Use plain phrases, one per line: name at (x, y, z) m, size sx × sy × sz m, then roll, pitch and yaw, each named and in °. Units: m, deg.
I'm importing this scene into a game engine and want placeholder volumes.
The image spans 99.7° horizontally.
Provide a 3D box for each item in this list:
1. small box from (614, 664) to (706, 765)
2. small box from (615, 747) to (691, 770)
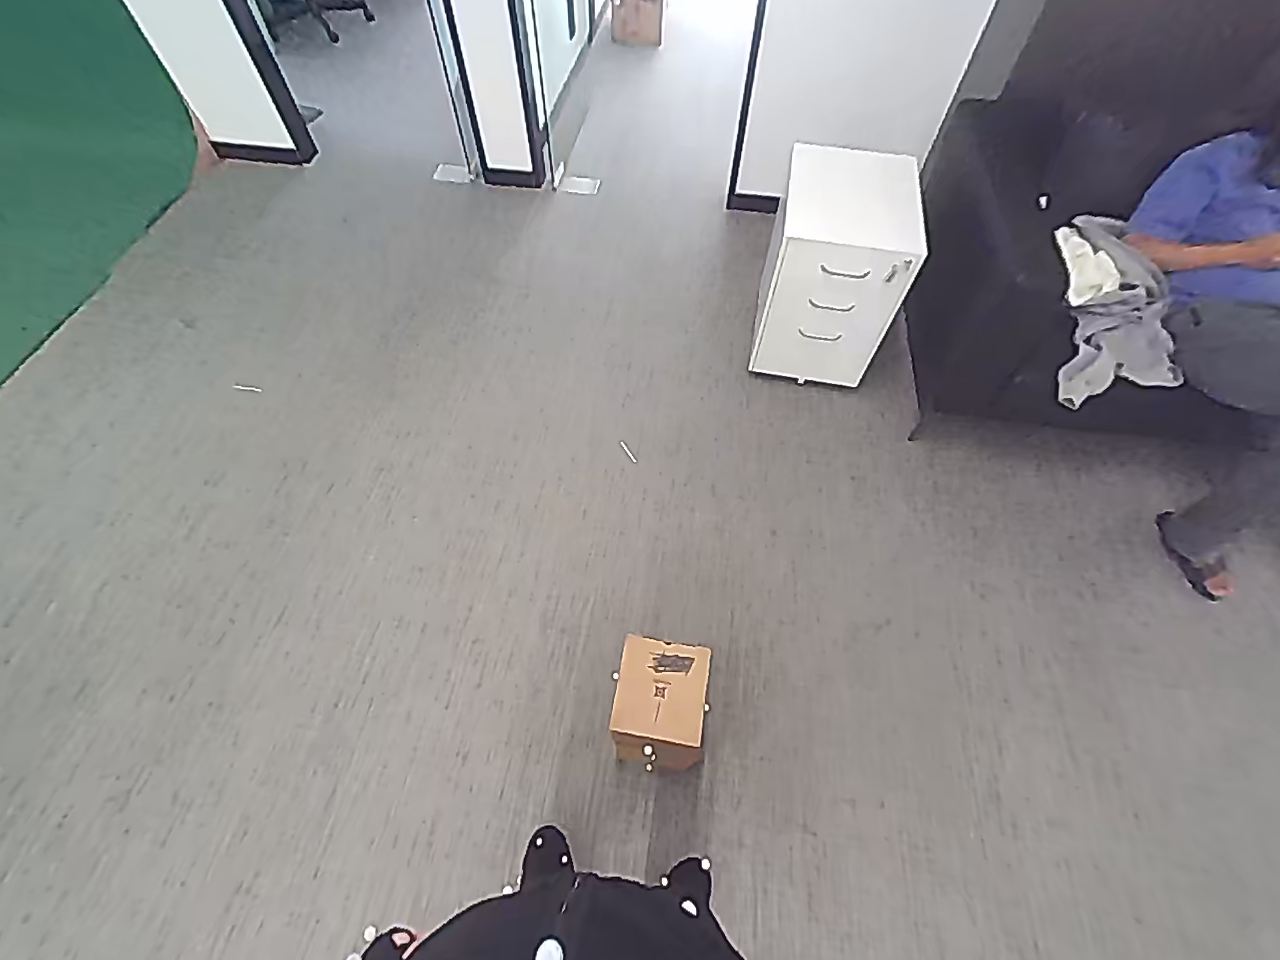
small box at (0.043, 0.524, 1.198) m, size 0.179 × 0.176 × 0.168 m, roll 9°, pitch 58°, yaw 3°
small box at (0.039, 0.609, 1.337) m, size 0.179 × 0.176 × 0.168 m, roll 9°, pitch 58°, yaw 4°
